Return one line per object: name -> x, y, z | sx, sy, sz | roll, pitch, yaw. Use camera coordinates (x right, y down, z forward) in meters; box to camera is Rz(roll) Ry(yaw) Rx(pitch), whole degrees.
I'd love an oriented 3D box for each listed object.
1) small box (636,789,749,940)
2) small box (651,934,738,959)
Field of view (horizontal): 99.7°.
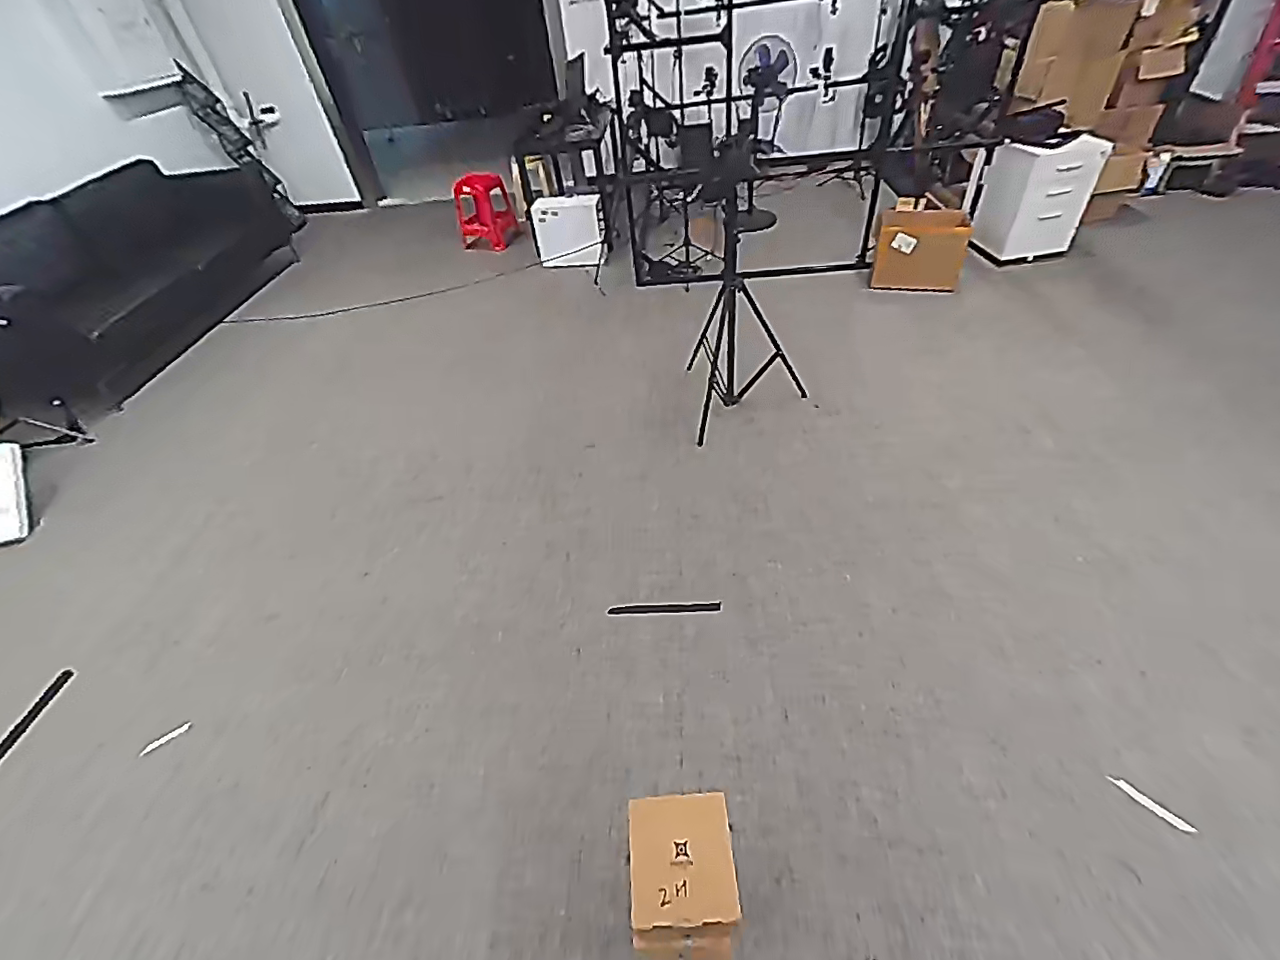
small box -> 0.083, 0.648, 0.910 | 0.168, 0.176, 0.179 | -6, 44, 2
small box -> 0.111, 0.890, 1.131 | 0.168, 0.176, 0.179 | -3, 44, 5
